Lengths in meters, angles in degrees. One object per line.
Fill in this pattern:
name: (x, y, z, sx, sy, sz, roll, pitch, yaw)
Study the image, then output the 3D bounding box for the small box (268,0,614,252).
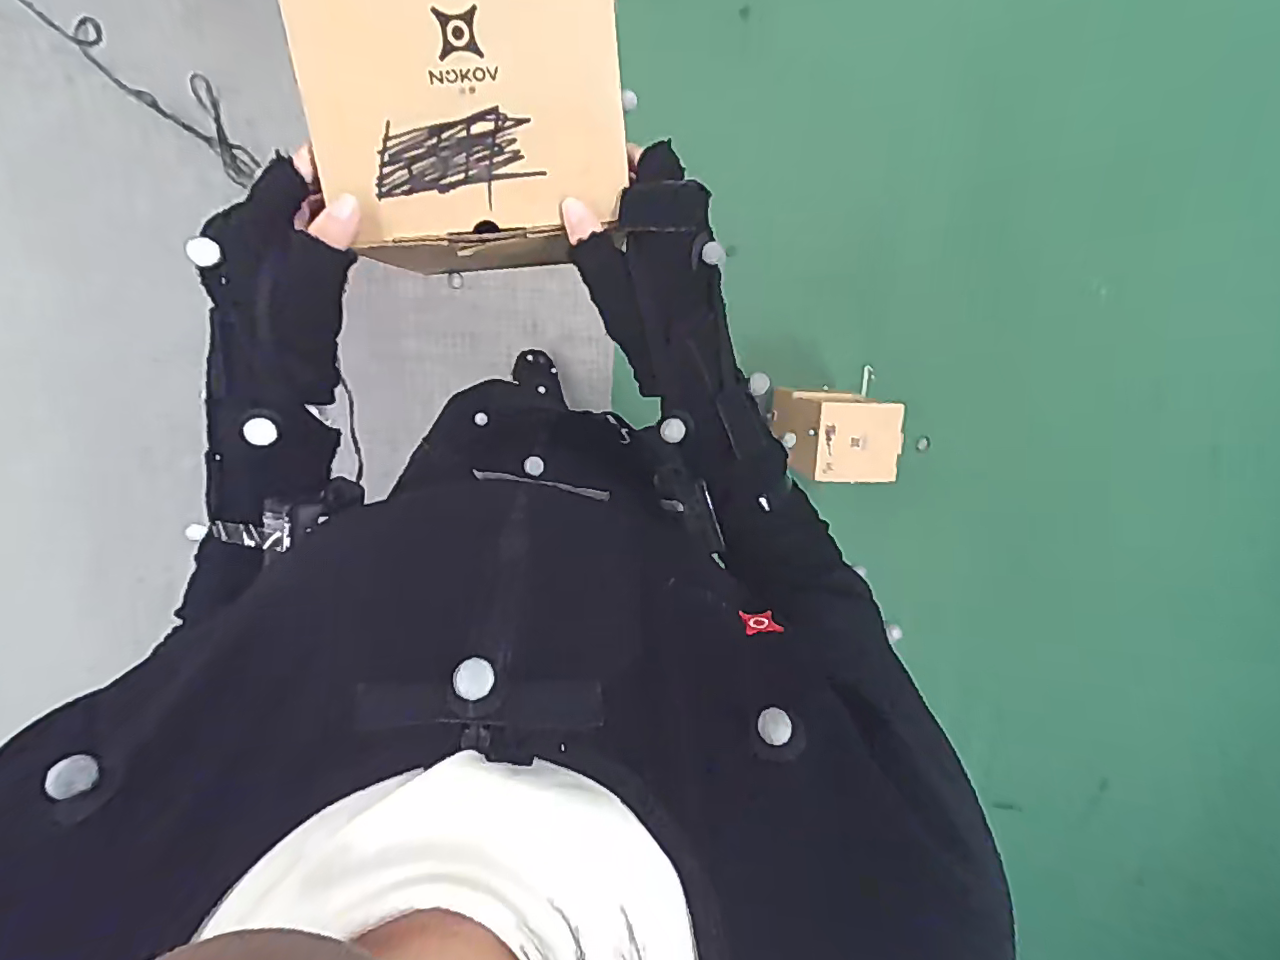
small box: (-0.106, -0.251, 0.351, 0.168, 0.176, 0.179, -7, 106, -4)

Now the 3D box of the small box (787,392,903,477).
small box: (0.445, -0.107, 1.195, 0.179, 0.176, 0.168, 1, 103, -4)

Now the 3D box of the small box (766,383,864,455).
small box: (0.430, -0.153, 1.352, 0.179, 0.176, 0.168, 2, 103, -2)
